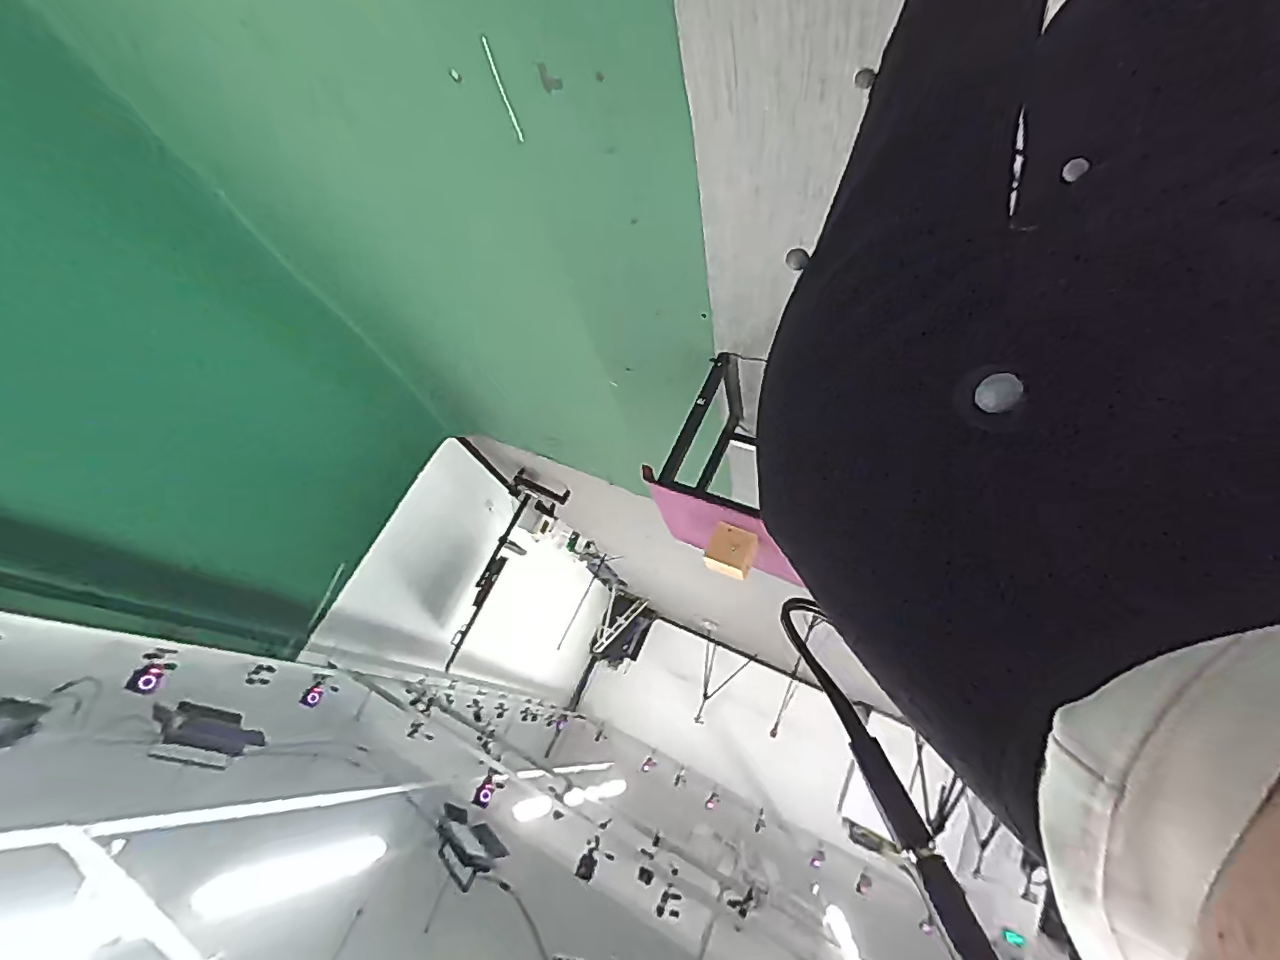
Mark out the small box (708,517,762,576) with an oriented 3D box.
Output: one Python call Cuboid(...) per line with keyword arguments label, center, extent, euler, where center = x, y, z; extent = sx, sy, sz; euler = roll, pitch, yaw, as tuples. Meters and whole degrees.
Cuboid(label="small box", center=(0.392, 0.270, 2.213), extent=(0.168, 0.176, 0.179), euler=(18, 162, 23))
